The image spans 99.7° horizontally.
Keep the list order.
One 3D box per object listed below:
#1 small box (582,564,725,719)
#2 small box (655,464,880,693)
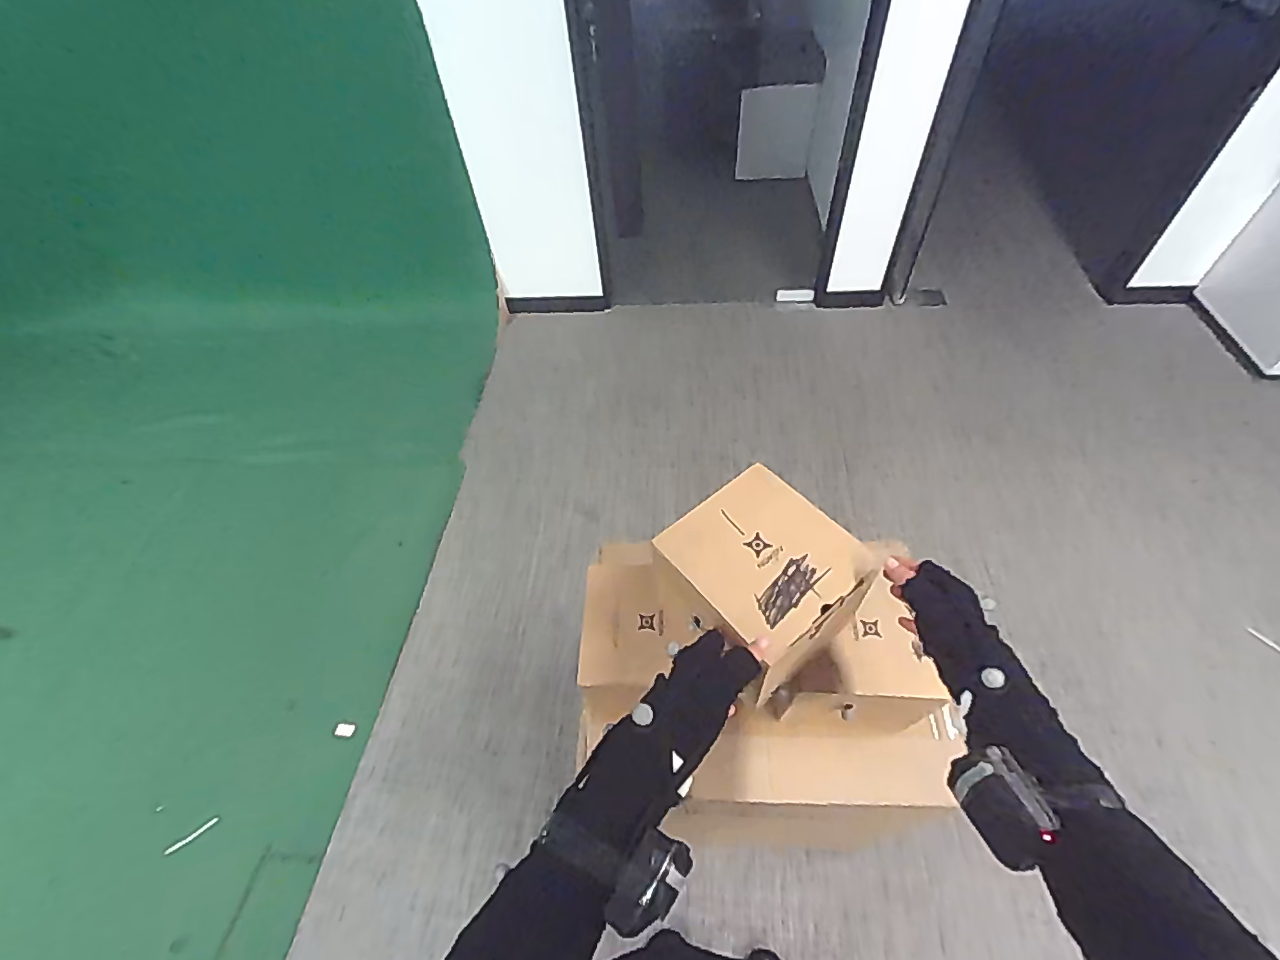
[{"bbox_3d":[0.023,0.231,0.764,0.179,0.176,0.168,-2,52,4],"label":"small box"},{"bbox_3d":[0.137,0.122,0.630,0.168,0.176,0.179,-34,57,-19],"label":"small box"}]
